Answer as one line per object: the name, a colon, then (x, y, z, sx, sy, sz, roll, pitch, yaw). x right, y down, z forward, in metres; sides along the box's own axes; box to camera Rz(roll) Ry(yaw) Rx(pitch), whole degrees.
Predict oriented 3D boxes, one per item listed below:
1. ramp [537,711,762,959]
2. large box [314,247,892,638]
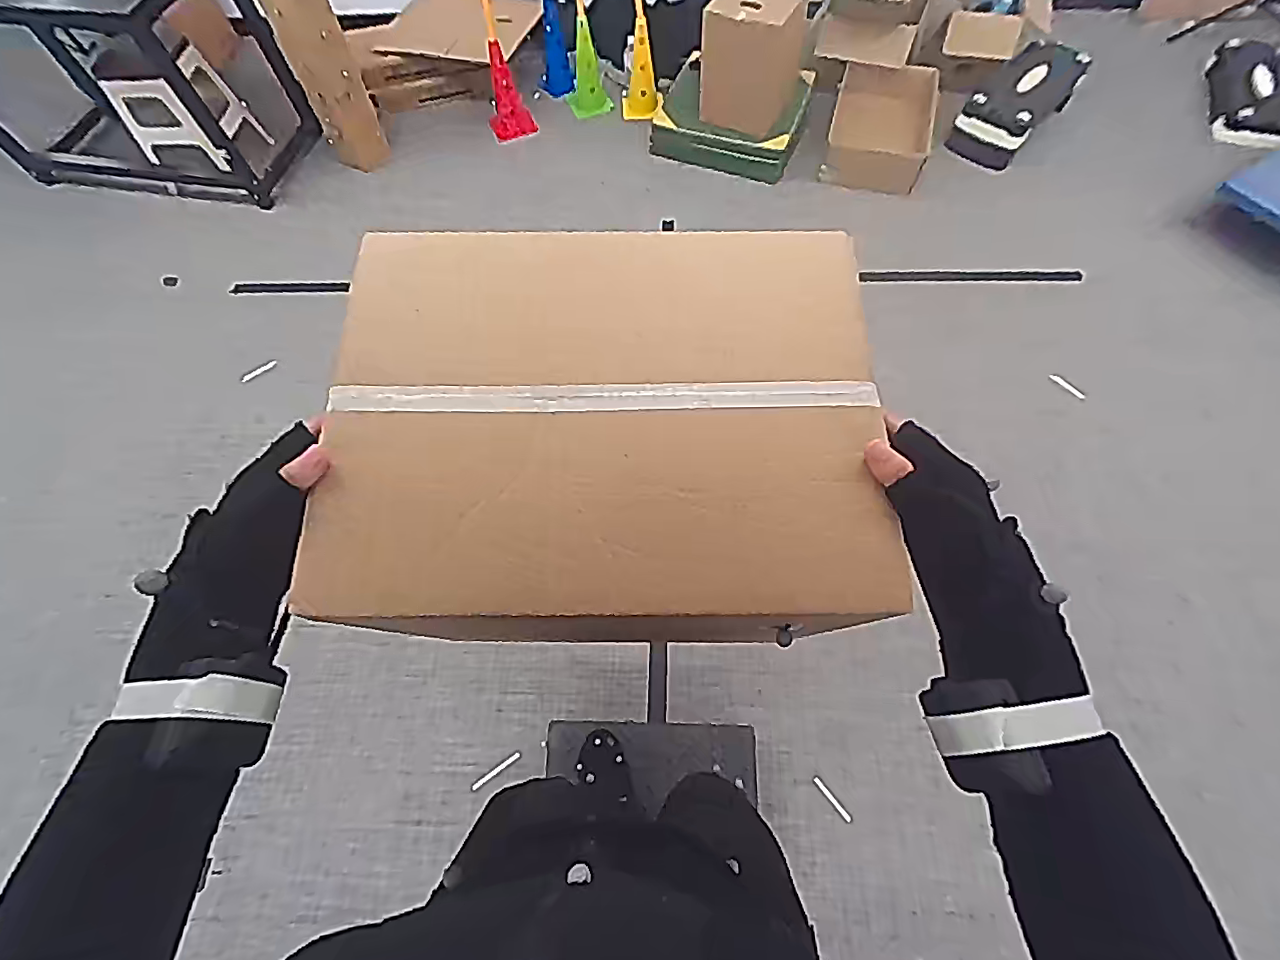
ramp: (0.021, 1.041, 1.171, 0.509, 0.206, 0.991, -1, 65, 1)
large box: (-0.025, -0.004, 0.555, 0.408, 0.320, 0.320, 0, 70, 0)
